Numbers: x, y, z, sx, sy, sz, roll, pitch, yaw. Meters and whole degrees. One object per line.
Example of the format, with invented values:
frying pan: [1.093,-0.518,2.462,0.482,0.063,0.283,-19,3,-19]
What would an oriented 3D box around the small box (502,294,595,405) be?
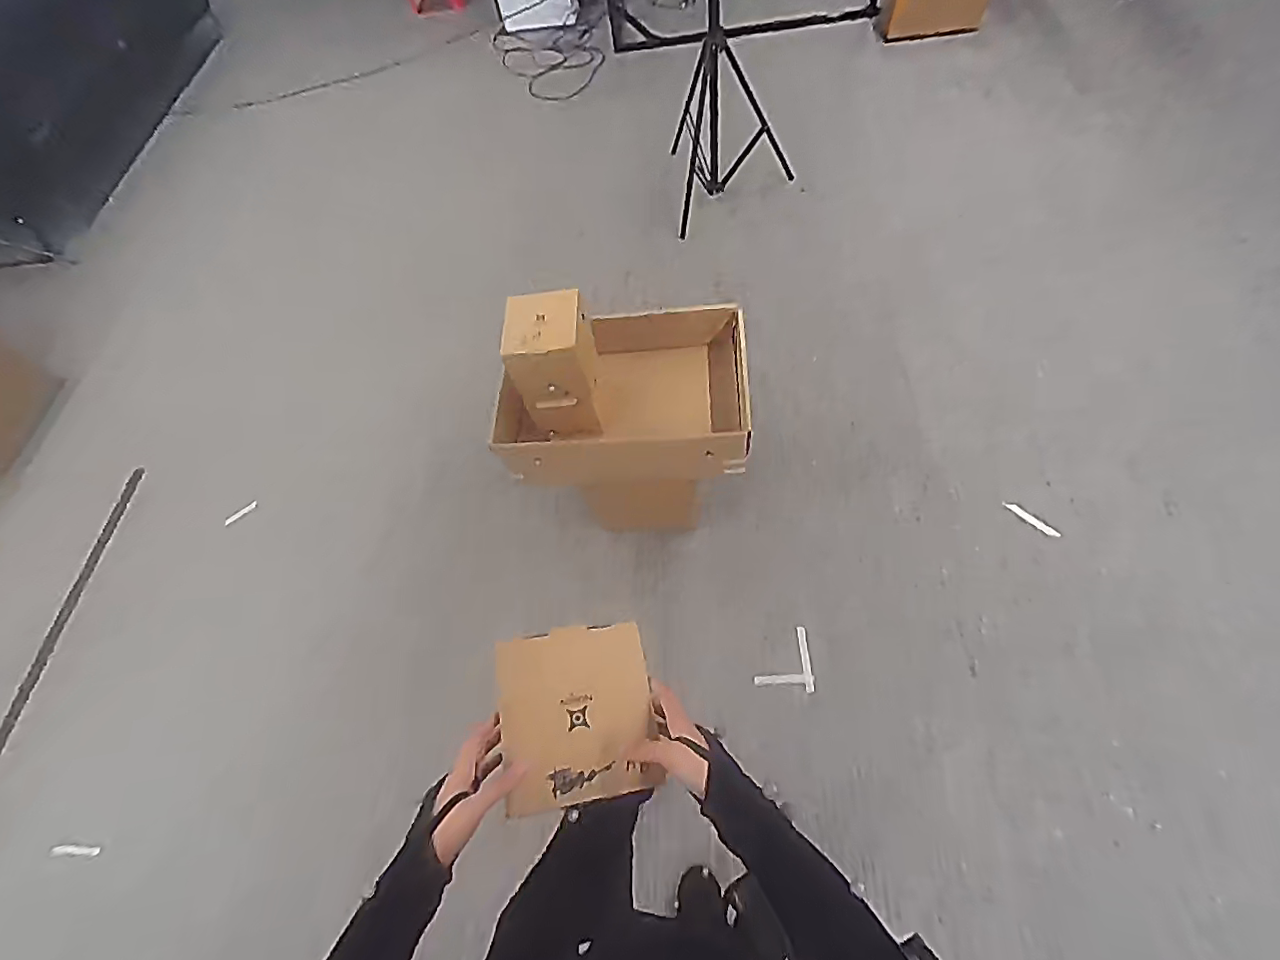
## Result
small box: [-0.200,-0.294,1.236,0.168,0.176,0.179,-5,61,7]

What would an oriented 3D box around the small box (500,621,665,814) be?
small box: [-0.077,0.288,0.652,0.168,0.176,0.179,-6,60,-11]

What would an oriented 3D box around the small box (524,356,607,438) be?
small box: [-0.183,-0.220,1.382,0.168,0.176,0.179,-4,60,8]
